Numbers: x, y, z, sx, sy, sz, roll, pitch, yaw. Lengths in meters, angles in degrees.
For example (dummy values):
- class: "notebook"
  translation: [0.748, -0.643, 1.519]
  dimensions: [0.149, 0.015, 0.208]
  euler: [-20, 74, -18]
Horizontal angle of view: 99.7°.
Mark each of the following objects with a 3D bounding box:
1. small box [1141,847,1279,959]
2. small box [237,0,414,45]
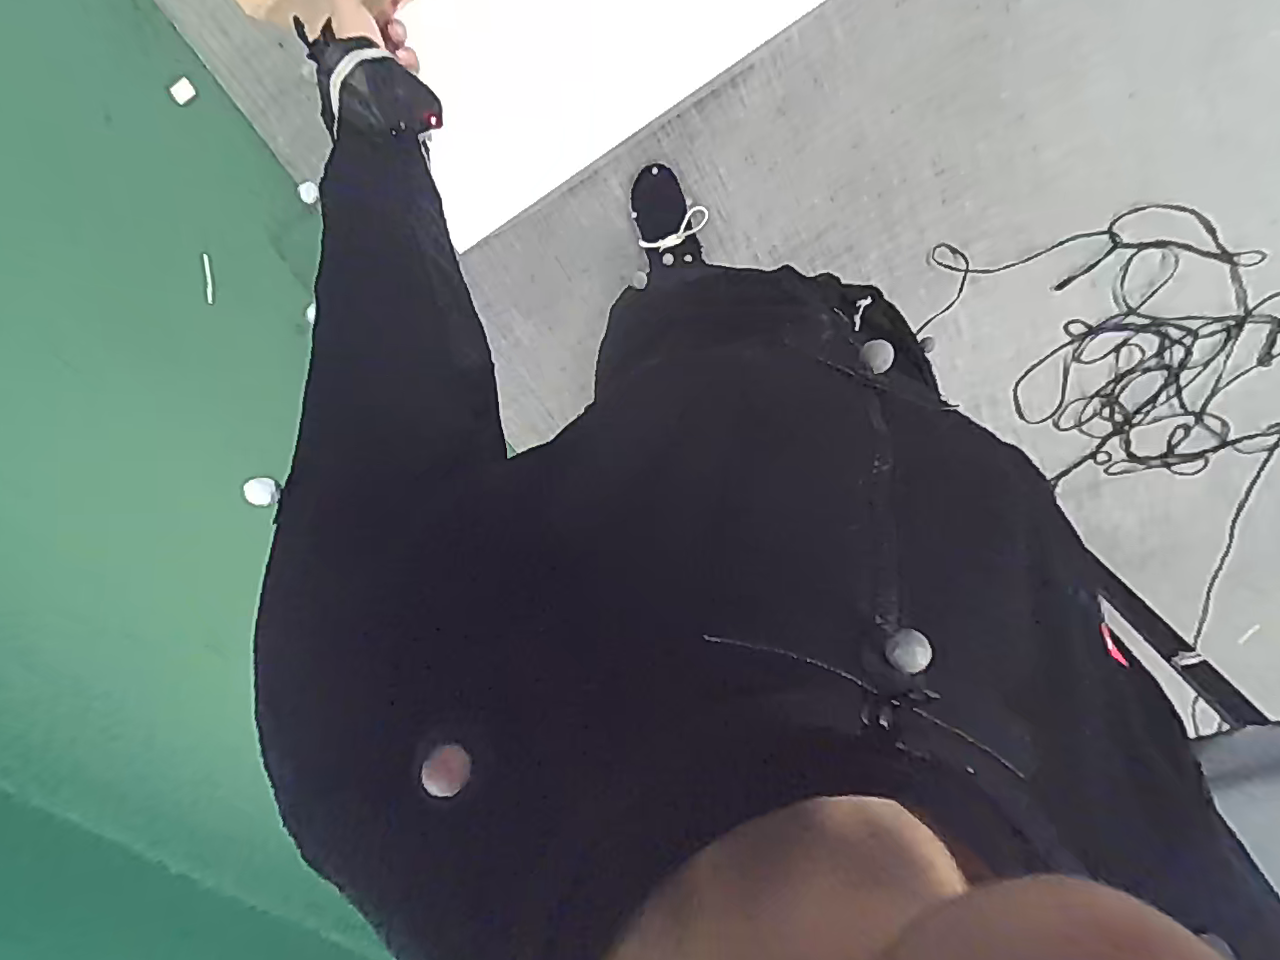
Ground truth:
- class: "small box"
  translation: [1.129, 0.854, 1.052]
  dimensions: [0.179, 0.176, 0.168]
  euler: [-23, 120, 14]
- class: "small box"
  translation: [-0.266, -0.488, 0.419]
  dimensions: [0.168, 0.176, 0.179]
  euler: [-26, 119, 15]
